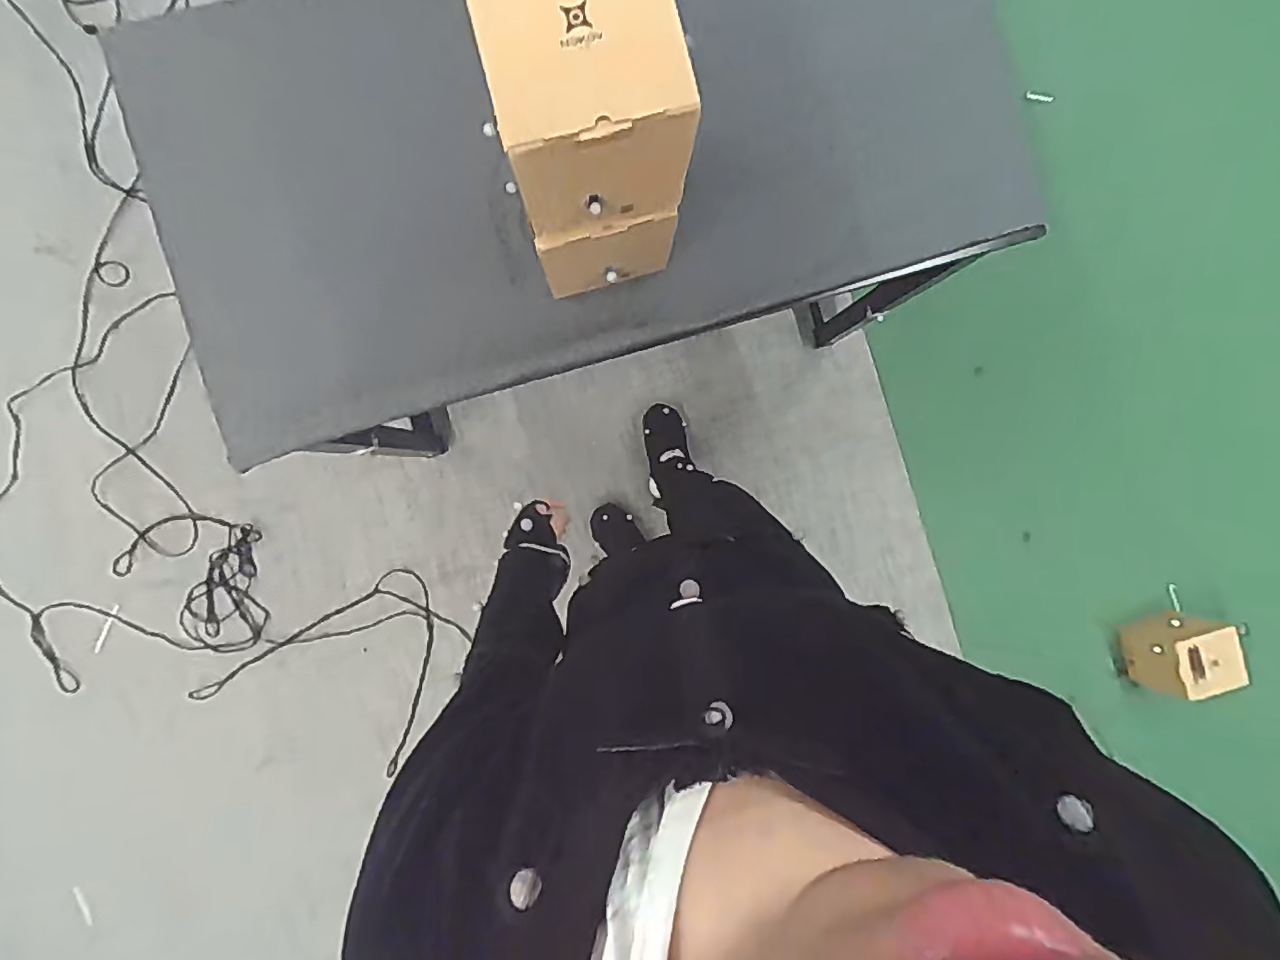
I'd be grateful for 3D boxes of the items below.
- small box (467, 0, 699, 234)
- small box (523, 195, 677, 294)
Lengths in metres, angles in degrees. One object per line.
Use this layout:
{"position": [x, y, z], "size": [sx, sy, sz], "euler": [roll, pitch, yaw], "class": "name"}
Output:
{"position": [-0.056, -0.368, 0.510], "size": [0.168, 0.176, 0.179], "euler": [-15, 91, -3], "class": "small box"}
{"position": [-0.062, -0.360, 0.672], "size": [0.168, 0.176, 0.179], "euler": [-16, 91, -2], "class": "small box"}
